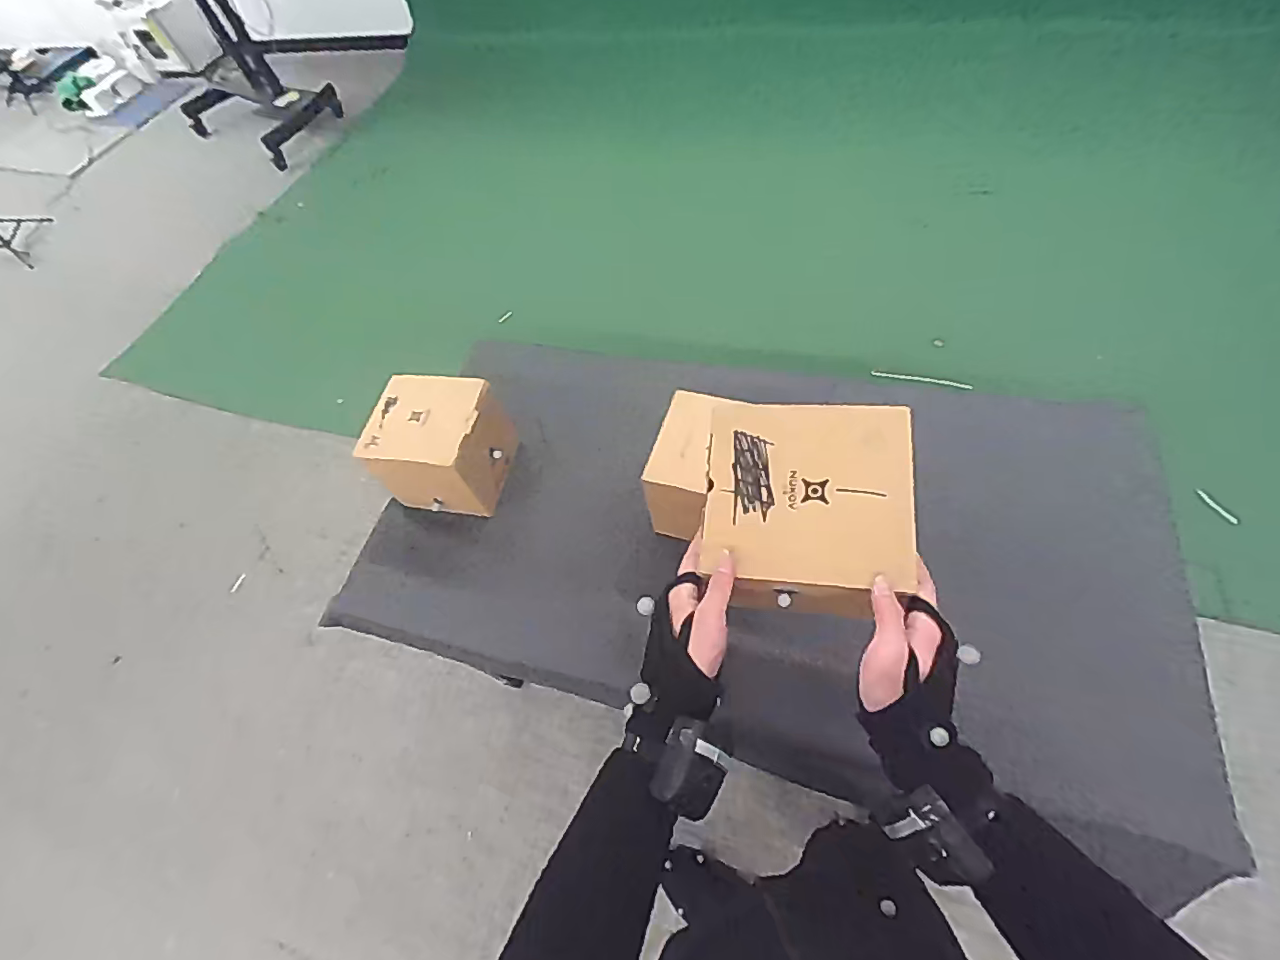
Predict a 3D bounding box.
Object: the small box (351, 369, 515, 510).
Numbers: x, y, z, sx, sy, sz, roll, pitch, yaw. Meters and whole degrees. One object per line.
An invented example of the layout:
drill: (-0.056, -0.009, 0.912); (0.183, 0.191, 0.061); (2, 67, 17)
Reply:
small box: (-0.332, -0.063, 0.912); (0.179, 0.176, 0.168); (7, 61, 11)

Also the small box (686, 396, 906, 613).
small box: (0.150, 0.031, 0.536); (0.179, 0.176, 0.168); (4, 69, 14)

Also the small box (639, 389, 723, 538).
small box: (0.117, -0.009, 0.815); (0.179, 0.176, 0.168); (13, 61, 17)
